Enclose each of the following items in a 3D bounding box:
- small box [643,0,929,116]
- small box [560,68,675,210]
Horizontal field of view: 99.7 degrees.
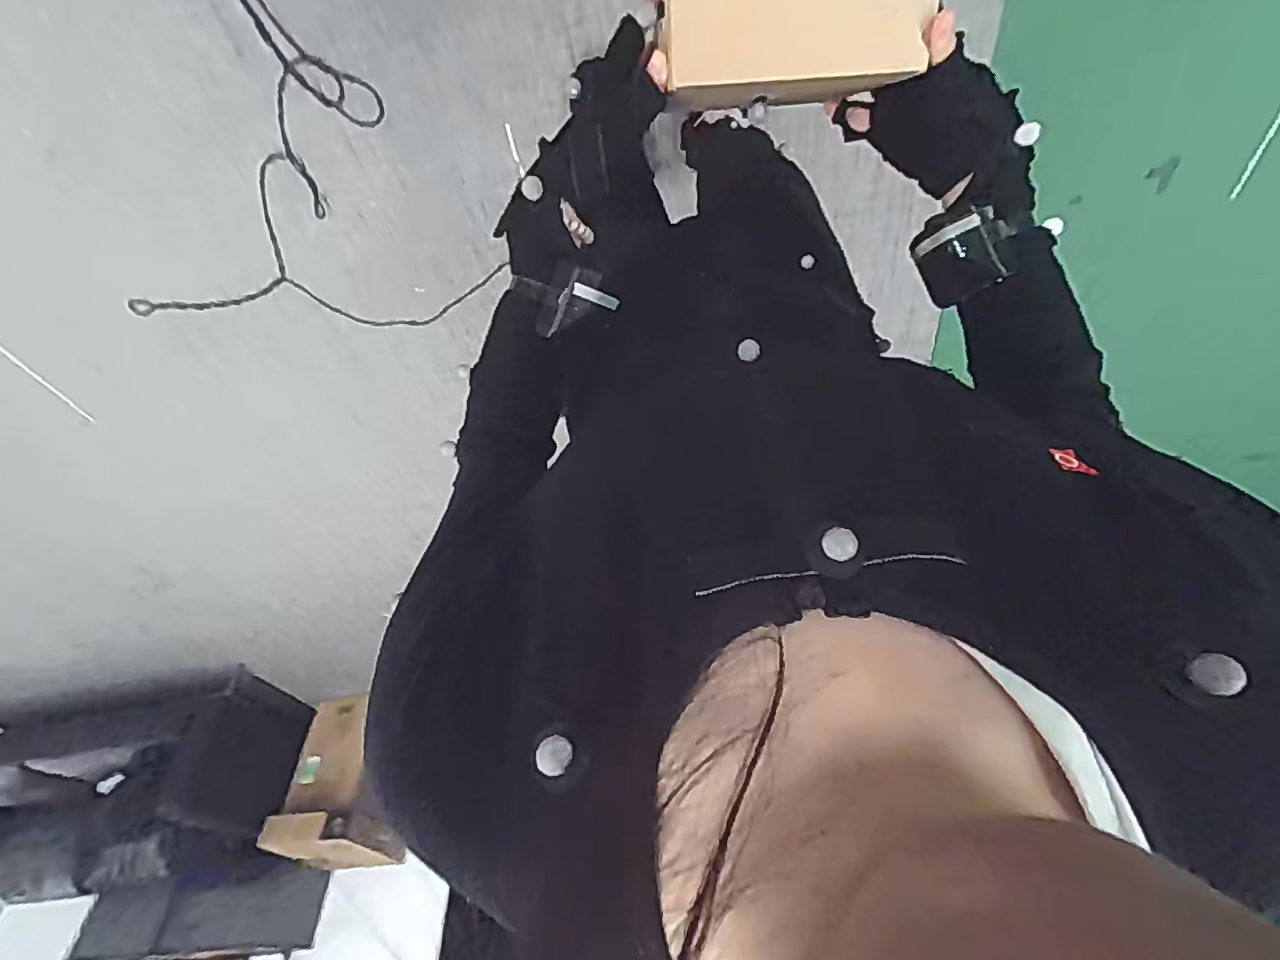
[{"bbox_3d":[0.088,-0.361,0.373,0.168,0.176,0.179,-4,120,0],"label":"small box"},{"bbox_3d":[-0.049,-0.692,1.103,0.179,0.176,0.168,27,142,-4],"label":"small box"}]
